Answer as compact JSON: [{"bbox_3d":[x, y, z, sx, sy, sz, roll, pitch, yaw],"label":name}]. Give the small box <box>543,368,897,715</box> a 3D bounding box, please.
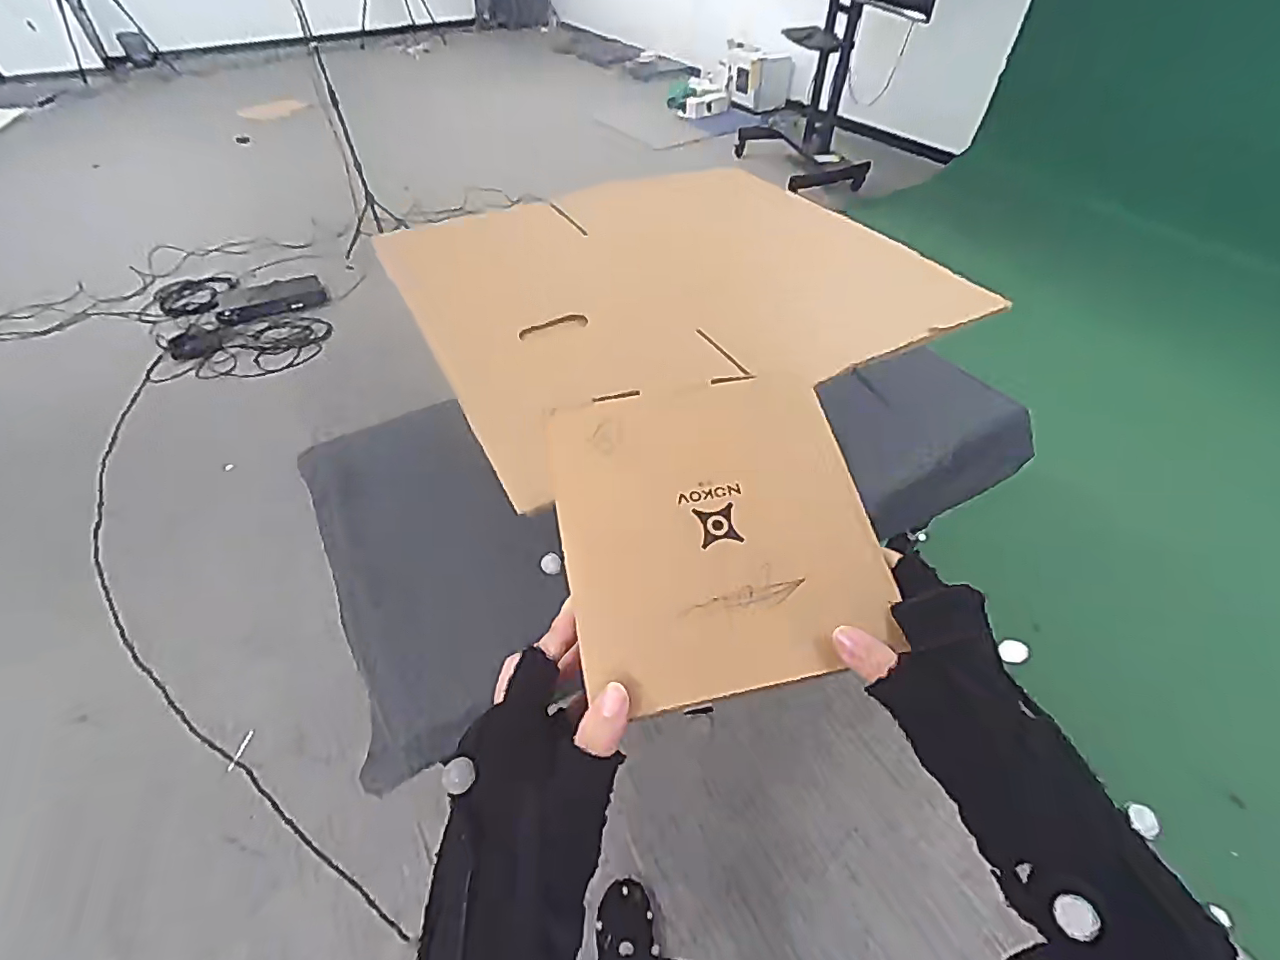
[{"bbox_3d":[0.031,0.051,0.370,0.168,0.176,0.179,-9,66,-7],"label":"small box"}]
